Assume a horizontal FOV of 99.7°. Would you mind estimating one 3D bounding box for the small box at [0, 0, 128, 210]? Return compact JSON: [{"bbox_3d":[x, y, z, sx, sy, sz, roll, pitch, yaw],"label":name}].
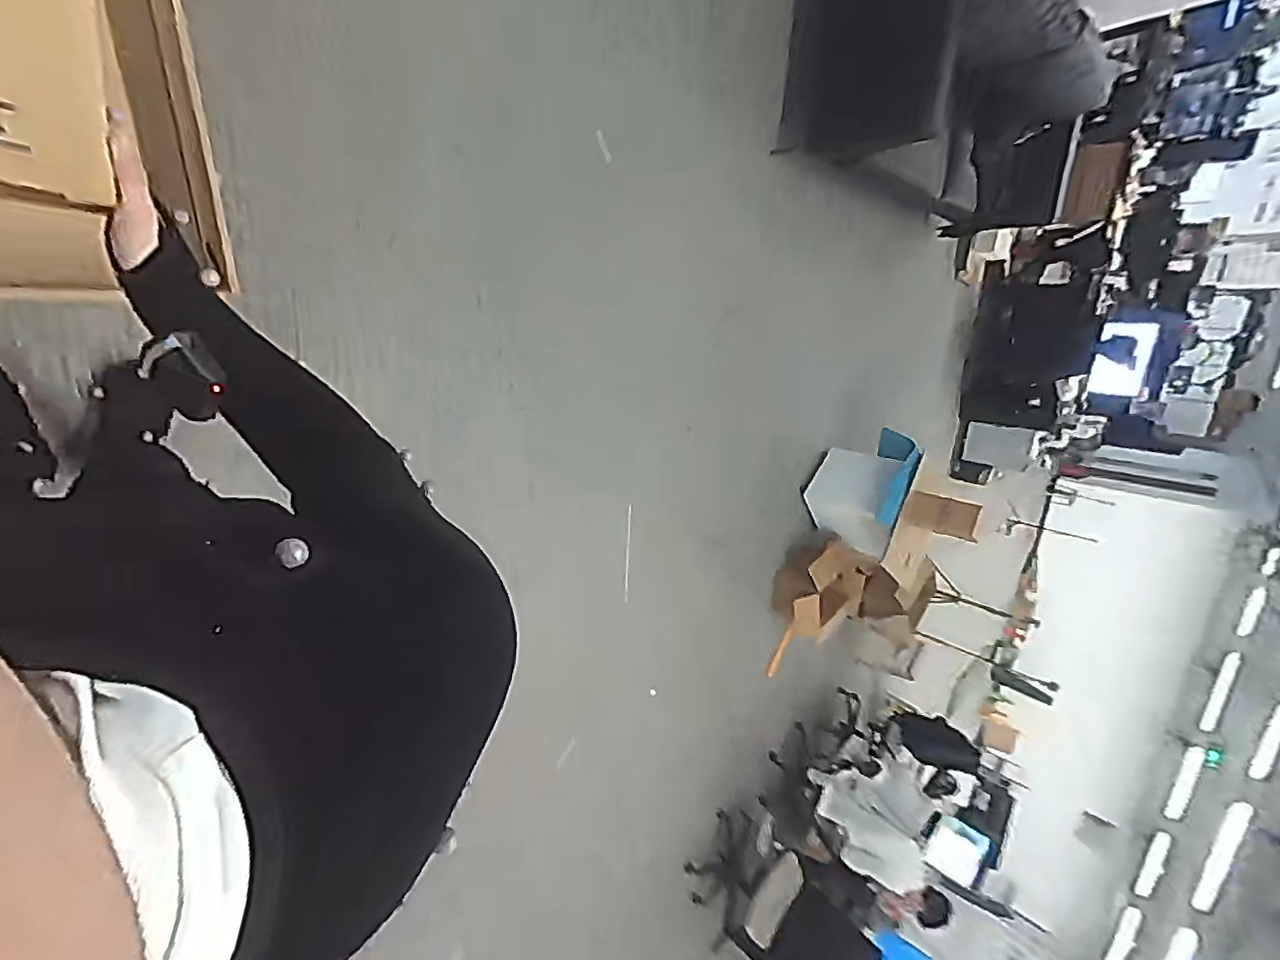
[{"bbox_3d":[-0.516,-0.319,0.412,0.168,0.176,0.179,-10,113,-46],"label":"small box"}]
